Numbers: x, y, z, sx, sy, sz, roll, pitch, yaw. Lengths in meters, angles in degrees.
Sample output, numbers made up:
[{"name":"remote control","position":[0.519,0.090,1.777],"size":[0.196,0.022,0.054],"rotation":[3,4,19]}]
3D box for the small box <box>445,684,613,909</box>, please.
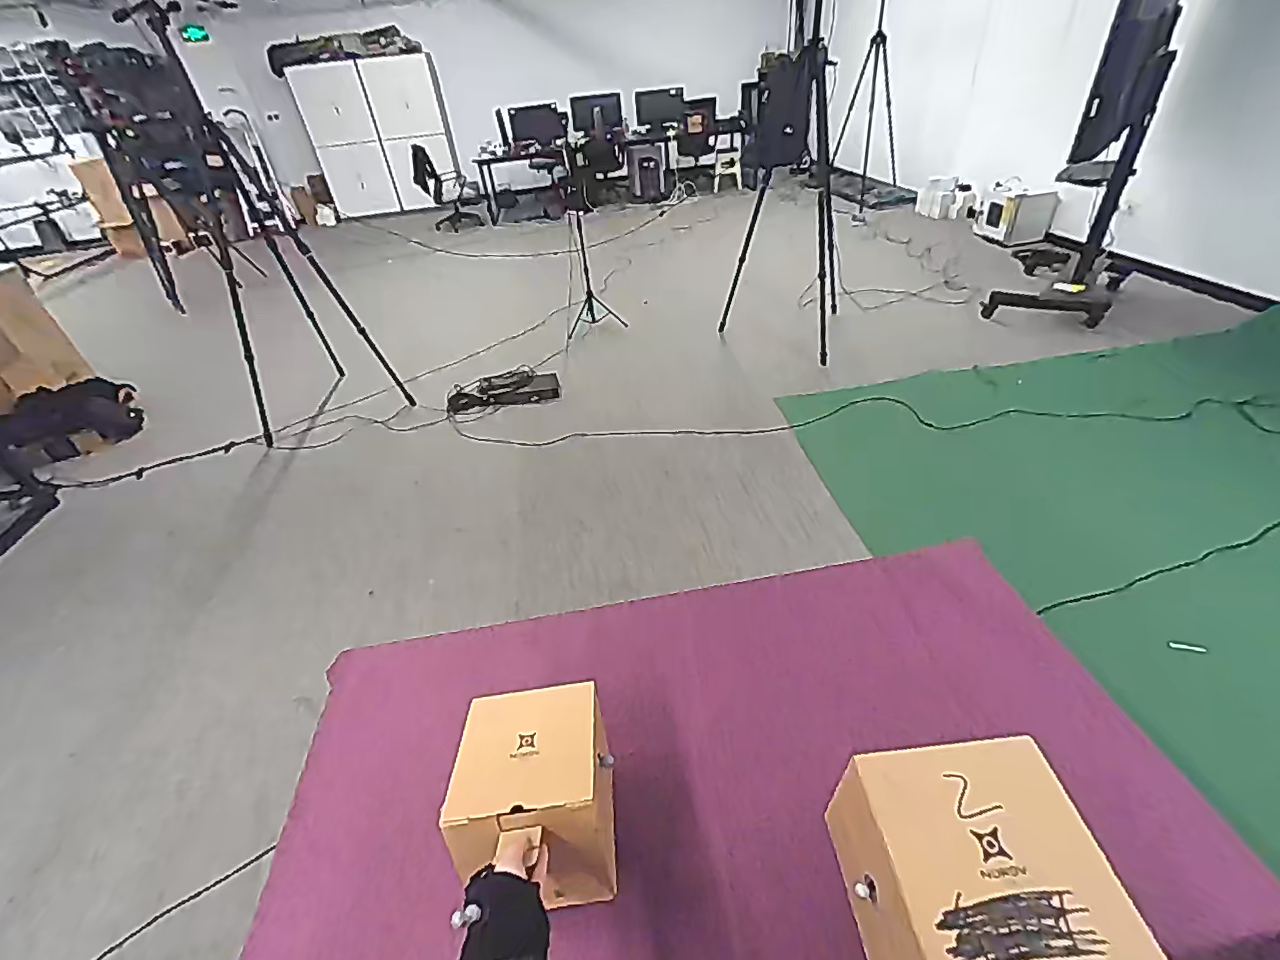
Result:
[{"name":"small box","position":[-0.127,0.396,0.690],"size":[0.168,0.176,0.179],"rotation":[-8,25,-1]}]
